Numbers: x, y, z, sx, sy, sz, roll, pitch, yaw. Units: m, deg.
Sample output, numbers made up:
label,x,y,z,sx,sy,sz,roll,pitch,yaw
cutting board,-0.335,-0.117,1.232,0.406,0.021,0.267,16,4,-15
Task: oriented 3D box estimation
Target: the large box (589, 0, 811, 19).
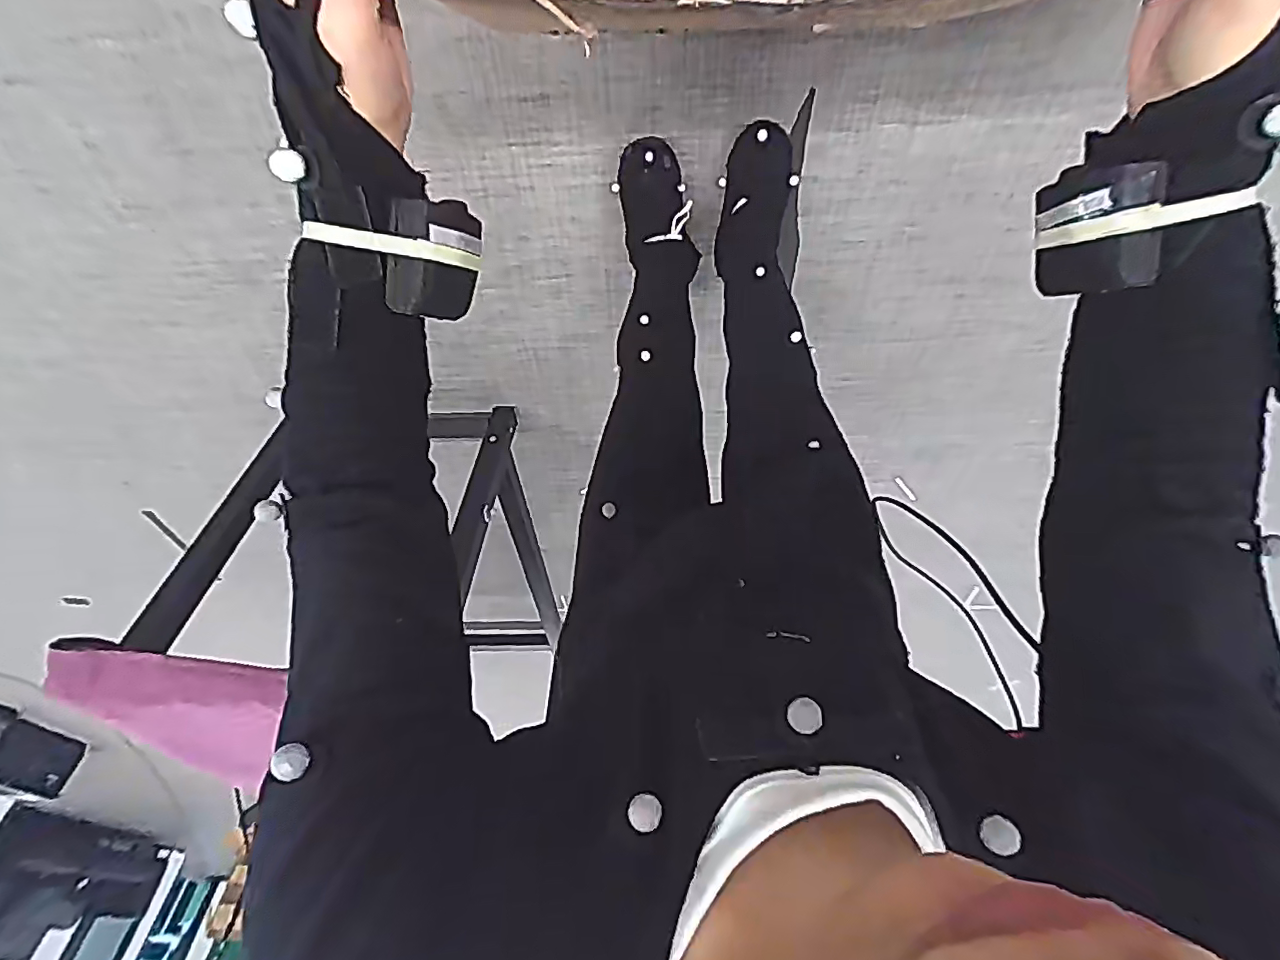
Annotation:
label,x,y,z,sx,sy,sz,roll,pitch,yaw
large box,0.088,-0.729,0.507,0.320,0.320,0.408,-1,138,4
